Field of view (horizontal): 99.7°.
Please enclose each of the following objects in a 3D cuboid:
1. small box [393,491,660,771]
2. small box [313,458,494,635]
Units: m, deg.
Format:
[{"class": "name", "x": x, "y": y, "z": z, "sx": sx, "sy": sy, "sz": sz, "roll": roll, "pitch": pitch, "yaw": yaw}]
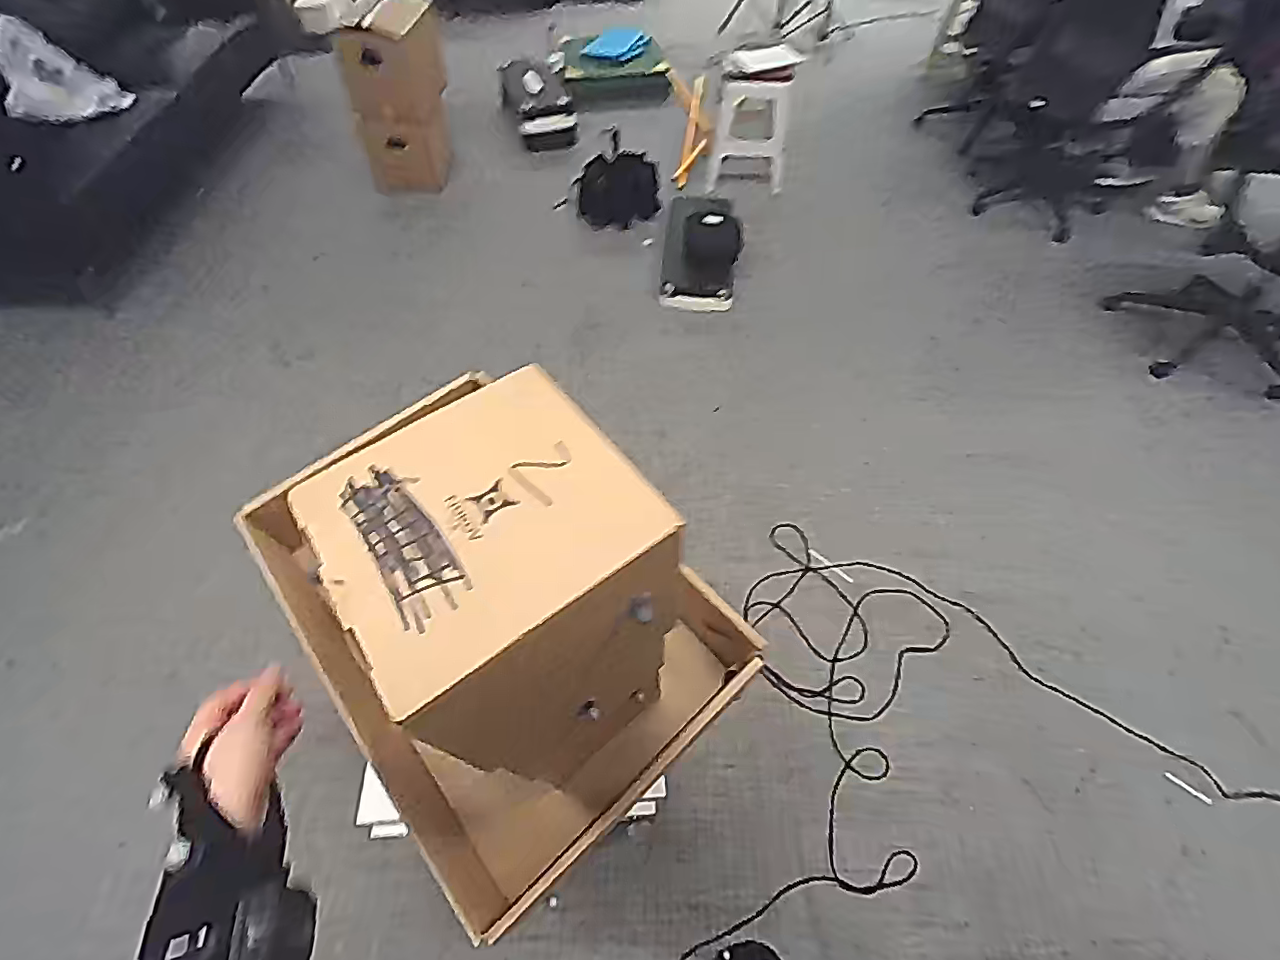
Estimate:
[{"class": "small box", "x": -0.098, "y": 0.150, "z": 0.530, "sx": 0.179, "sy": 0.176, "sz": 0.168, "roll": -36, "pitch": 61, "yaw": -19}, {"class": "small box", "x": -0.301, "y": 0.108, "z": 0.760, "sx": 0.179, "sy": 0.176, "sz": 0.168, "roll": 34, "pitch": 63, "yaw": 19}]
